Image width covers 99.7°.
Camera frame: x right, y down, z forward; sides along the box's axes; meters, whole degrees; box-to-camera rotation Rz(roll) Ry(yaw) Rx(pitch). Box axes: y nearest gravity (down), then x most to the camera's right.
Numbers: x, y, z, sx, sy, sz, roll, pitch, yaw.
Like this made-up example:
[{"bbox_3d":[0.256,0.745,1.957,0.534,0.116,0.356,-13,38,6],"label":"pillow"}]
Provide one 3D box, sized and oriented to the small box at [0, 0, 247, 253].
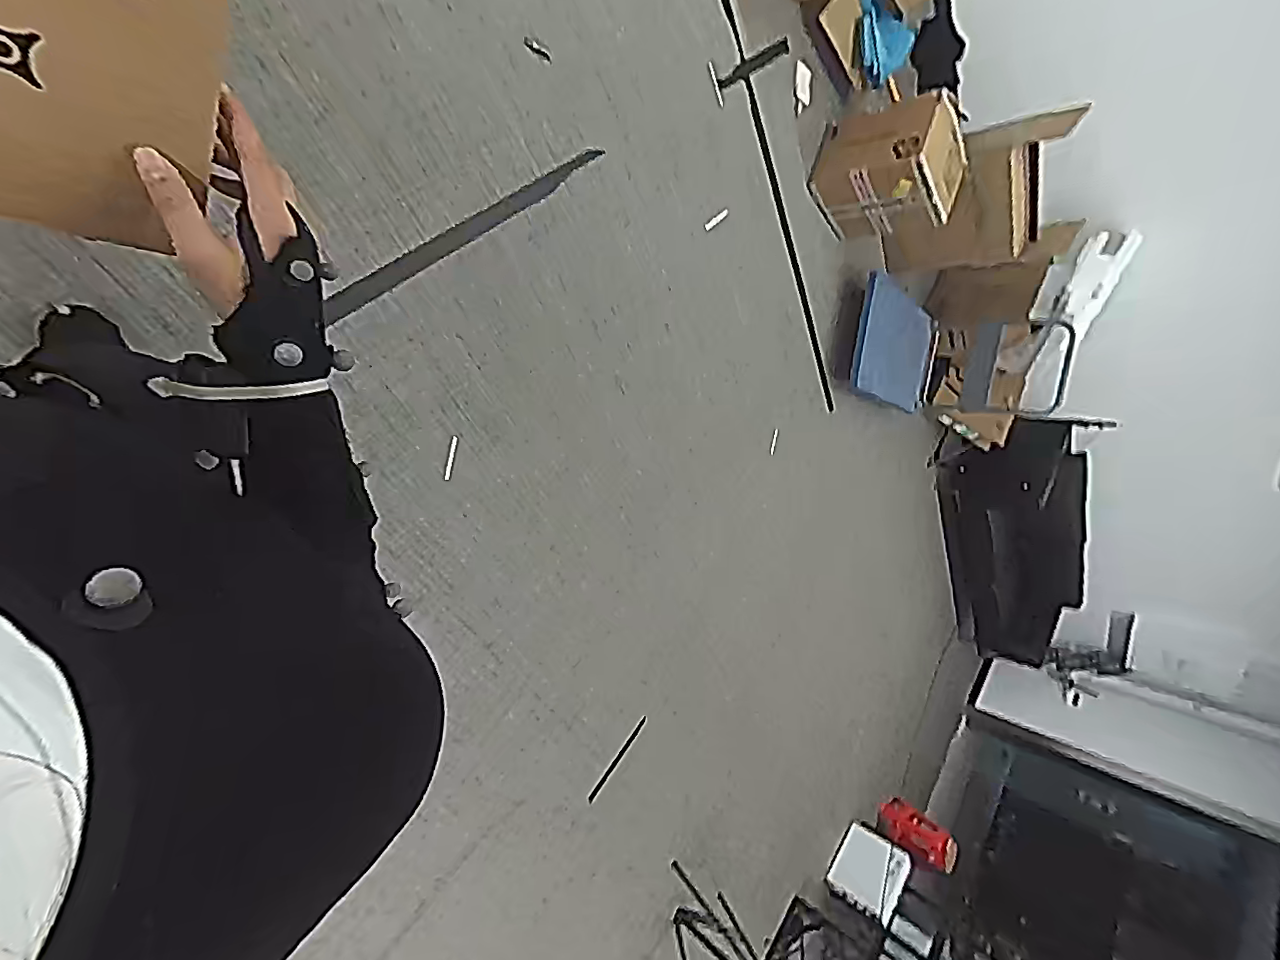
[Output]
[{"bbox_3d":[-0.339,-0.254,0.279,0.179,0.176,0.168,-2,133,-50],"label":"small box"}]
